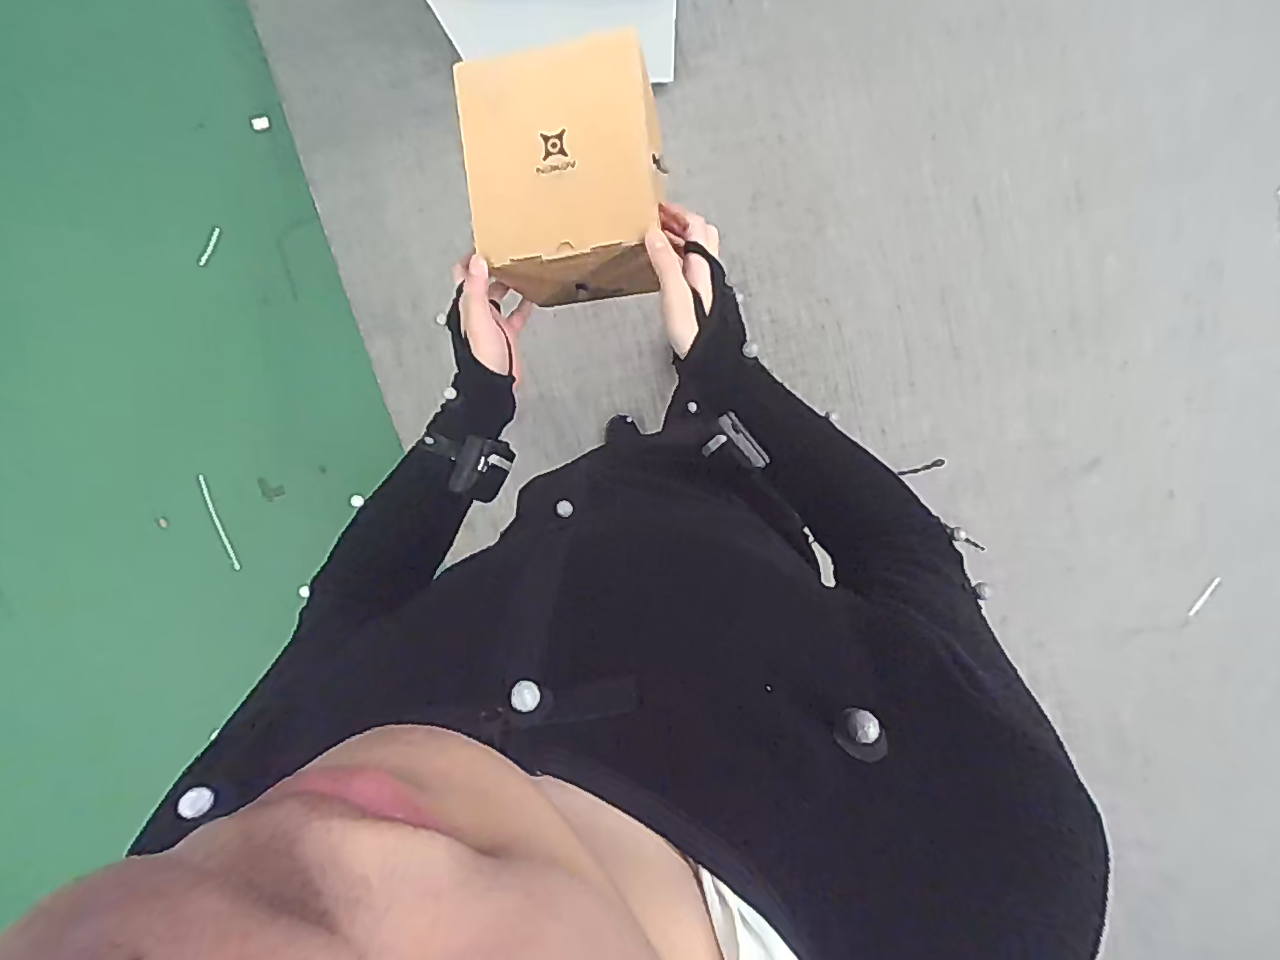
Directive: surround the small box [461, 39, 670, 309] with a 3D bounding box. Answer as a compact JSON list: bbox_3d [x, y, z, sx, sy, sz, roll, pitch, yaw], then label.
[{"bbox_3d":[-0.061,-0.288,0.550,0.168,0.176,0.179,-5,95,8],"label":"small box"}]
